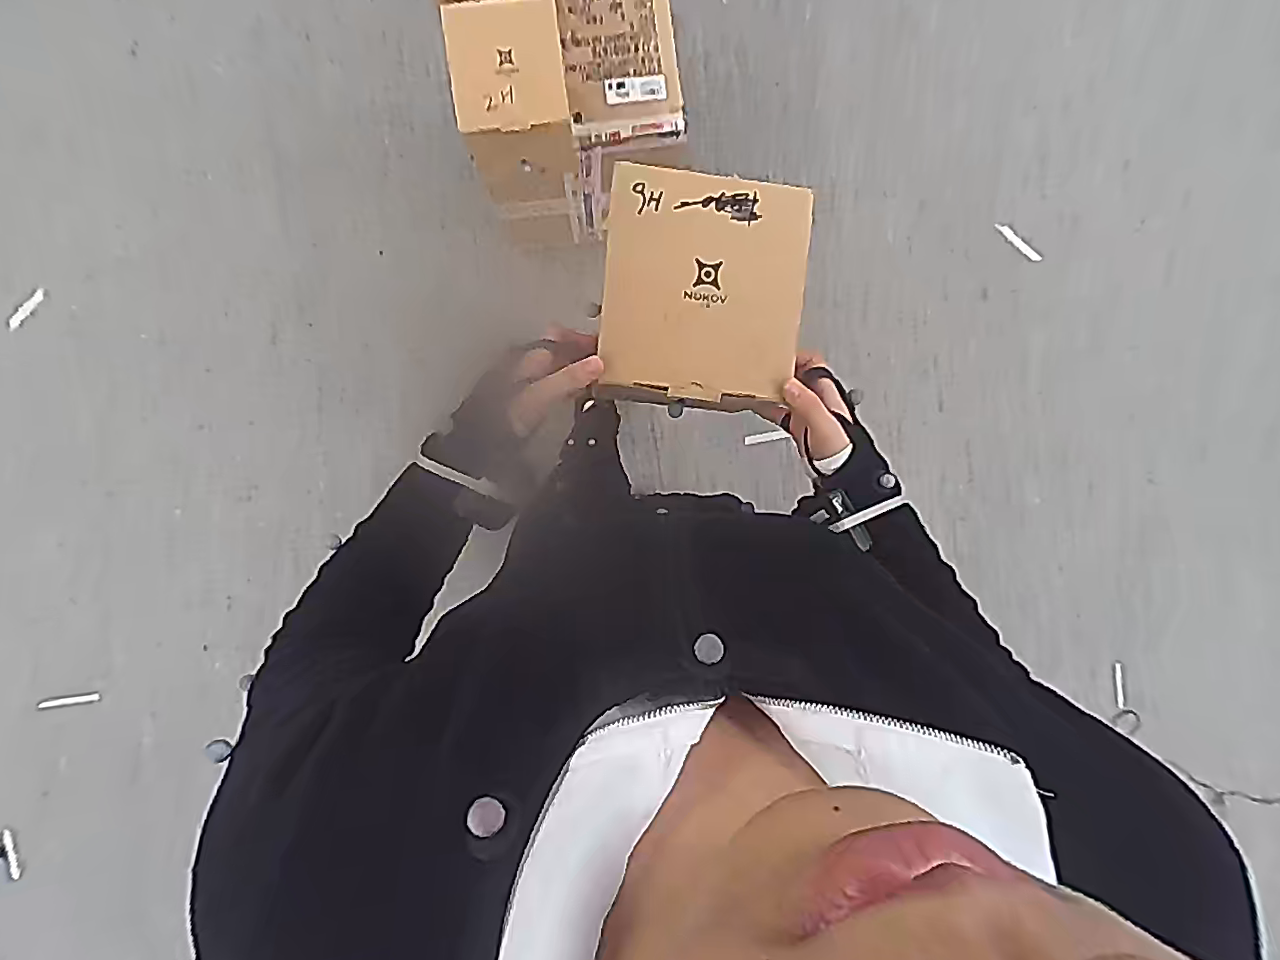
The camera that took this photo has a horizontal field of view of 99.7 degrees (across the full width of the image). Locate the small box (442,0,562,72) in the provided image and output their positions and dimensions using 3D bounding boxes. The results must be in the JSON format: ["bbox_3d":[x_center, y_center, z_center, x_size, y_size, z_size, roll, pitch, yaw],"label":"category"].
[{"bbox_3d":[-0.222,-0.791,0.846,0.168,0.176,0.179,-8,97,0],"label":"small box"}]
